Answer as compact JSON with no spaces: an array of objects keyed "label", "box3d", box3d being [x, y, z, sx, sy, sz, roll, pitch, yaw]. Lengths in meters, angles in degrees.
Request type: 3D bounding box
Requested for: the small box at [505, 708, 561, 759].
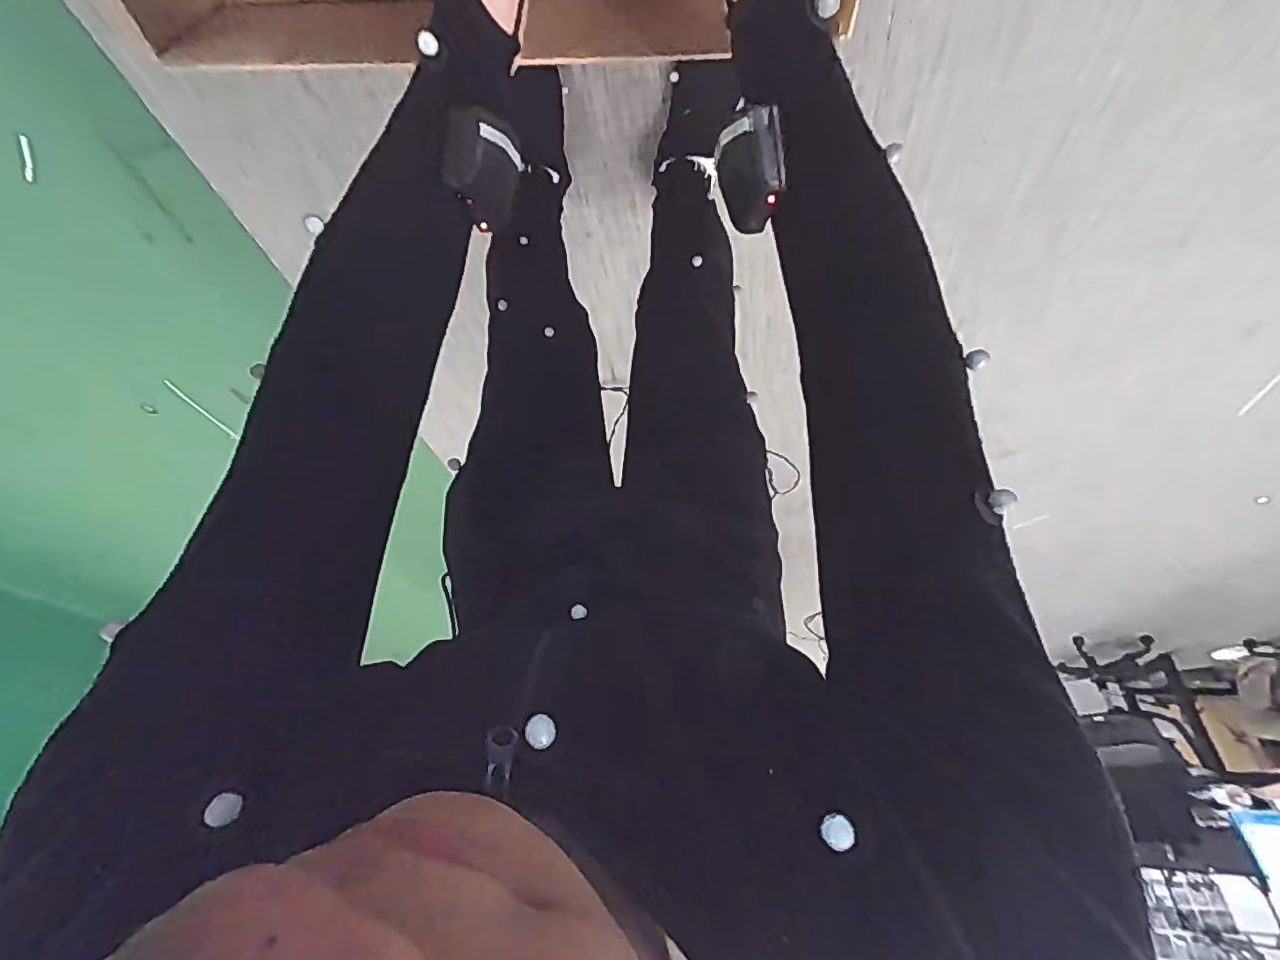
[{"label":"small box","box3d":[-0.423,1.019,2.170,0.168,0.176,0.179,-5,147,8]}]
